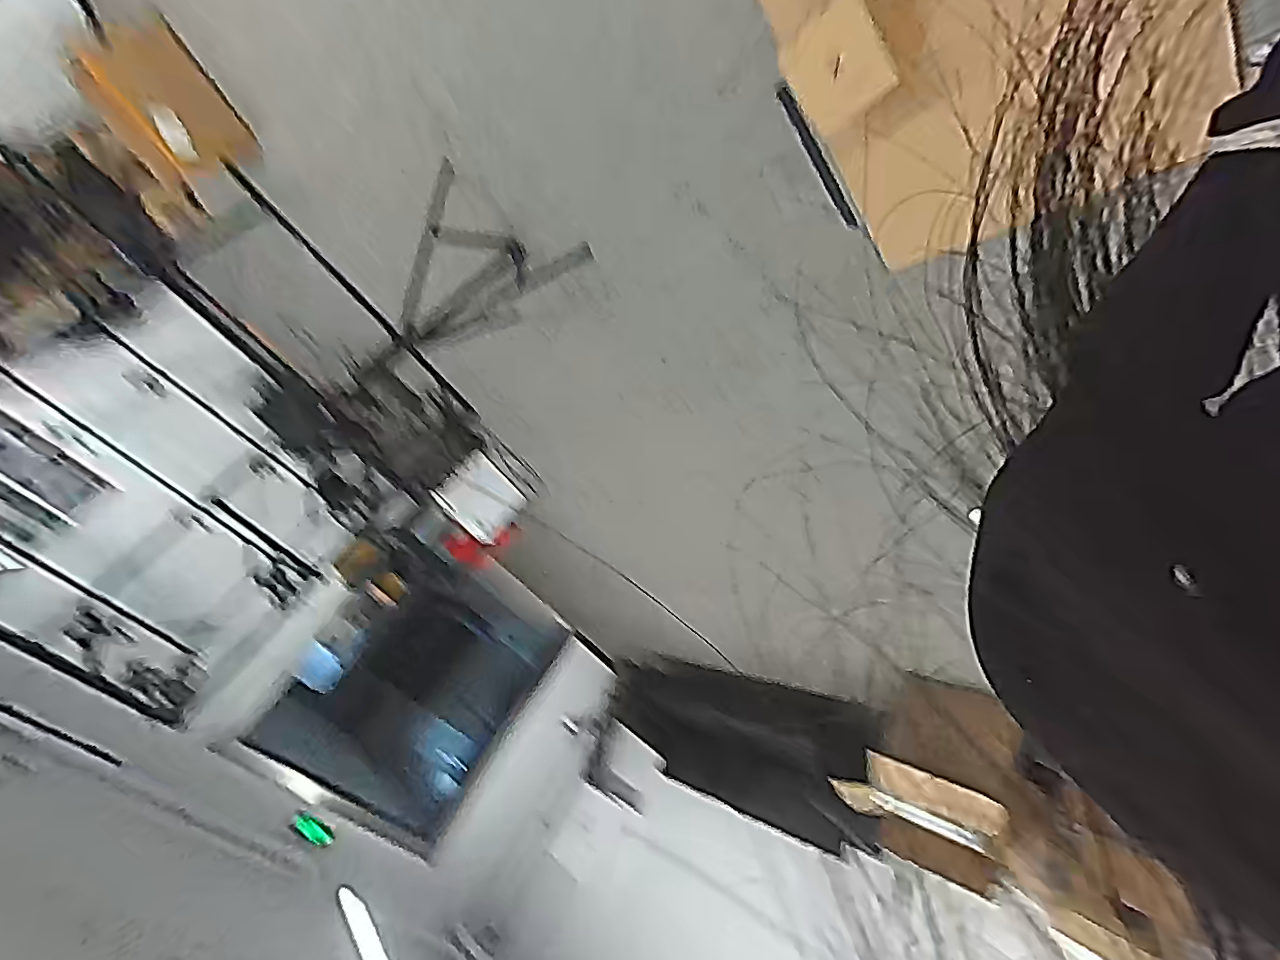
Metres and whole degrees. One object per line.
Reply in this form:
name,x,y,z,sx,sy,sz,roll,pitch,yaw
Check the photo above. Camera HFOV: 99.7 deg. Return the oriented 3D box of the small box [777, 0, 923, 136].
small box,0.395,-0.806,1.013,0.179,0.176,0.168,44,151,-20
